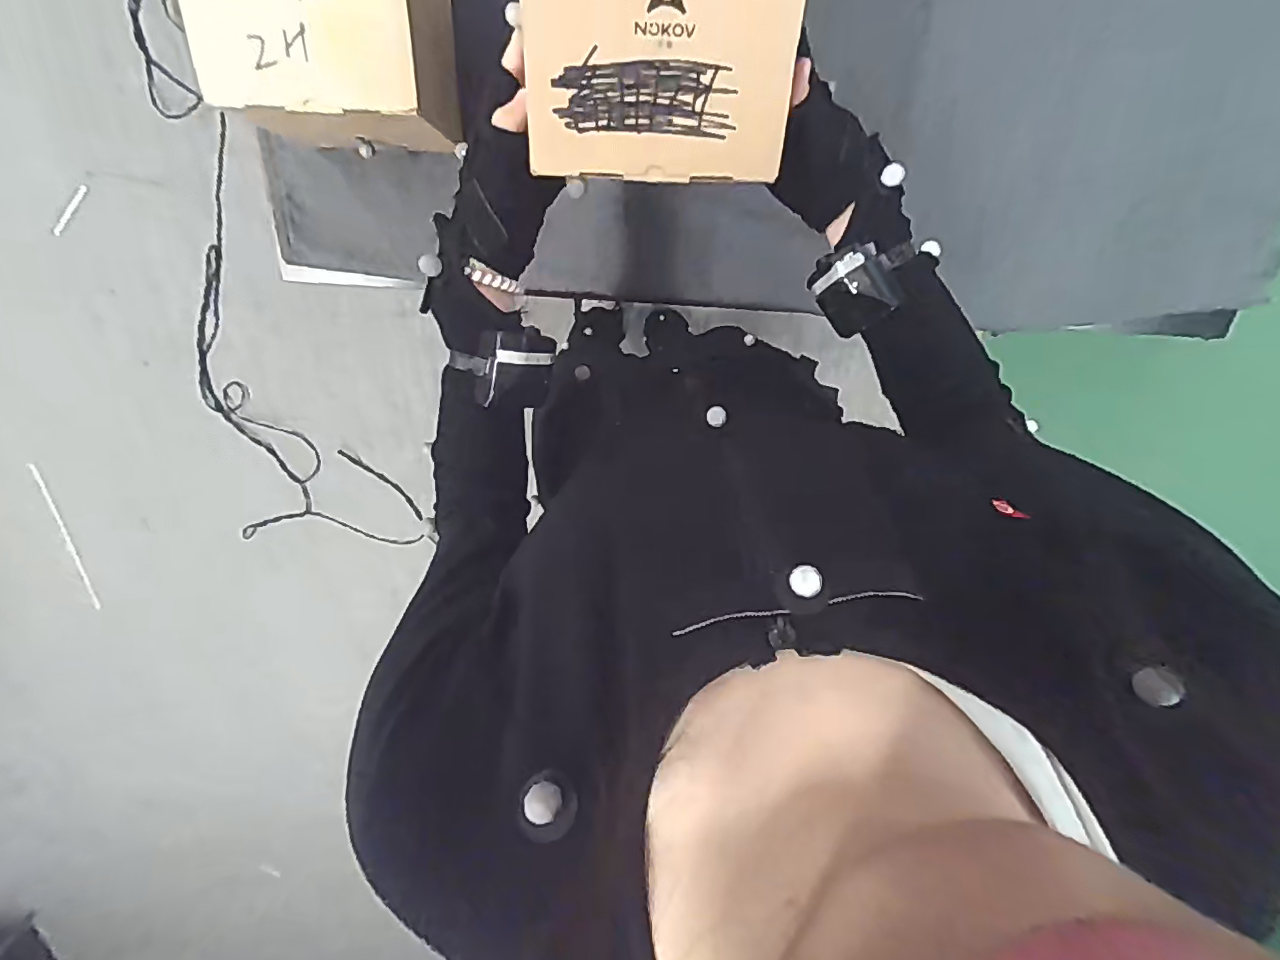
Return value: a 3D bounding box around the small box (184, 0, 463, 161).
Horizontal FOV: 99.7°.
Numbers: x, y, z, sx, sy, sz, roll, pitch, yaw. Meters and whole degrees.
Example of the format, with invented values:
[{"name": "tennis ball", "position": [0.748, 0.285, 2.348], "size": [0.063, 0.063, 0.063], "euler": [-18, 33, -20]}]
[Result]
[{"name": "small box", "position": [-0.260, -0.398, 0.473], "size": [0.168, 0.176, 0.179], "euler": [-1, 112, -5]}]
